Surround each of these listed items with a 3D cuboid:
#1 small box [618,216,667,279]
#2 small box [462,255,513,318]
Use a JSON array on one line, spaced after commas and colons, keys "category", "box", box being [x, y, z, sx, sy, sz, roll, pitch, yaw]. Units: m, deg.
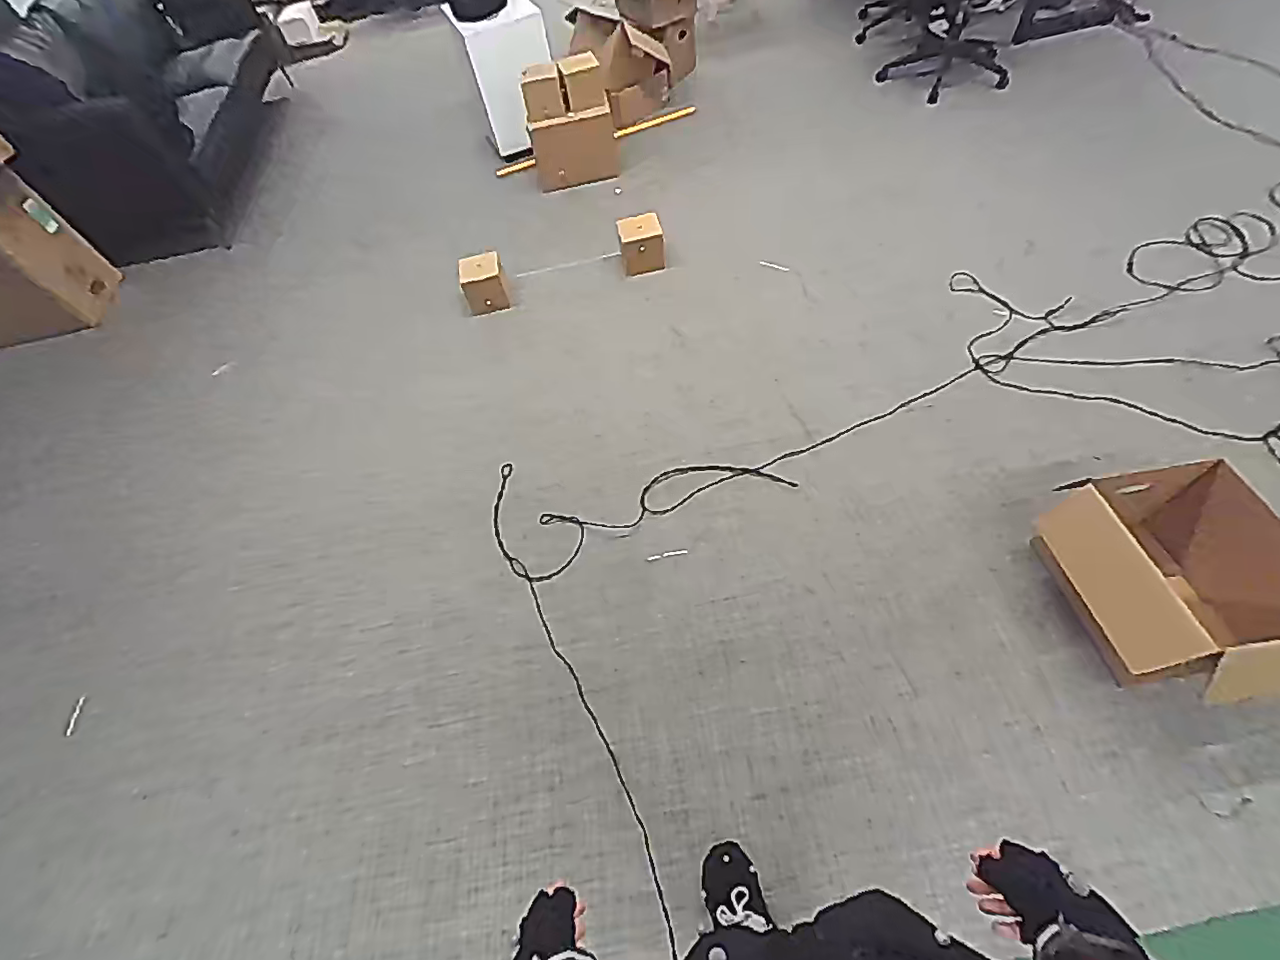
[{"category": "small box", "box": [0.014, -0.995, 2.320, 0.179, 0.176, 0.168, -14, 56, 0]}, {"category": "small box", "box": [-0.650, -0.825, 2.307, 0.168, 0.176, 0.179, -14, 56, 0]}]
